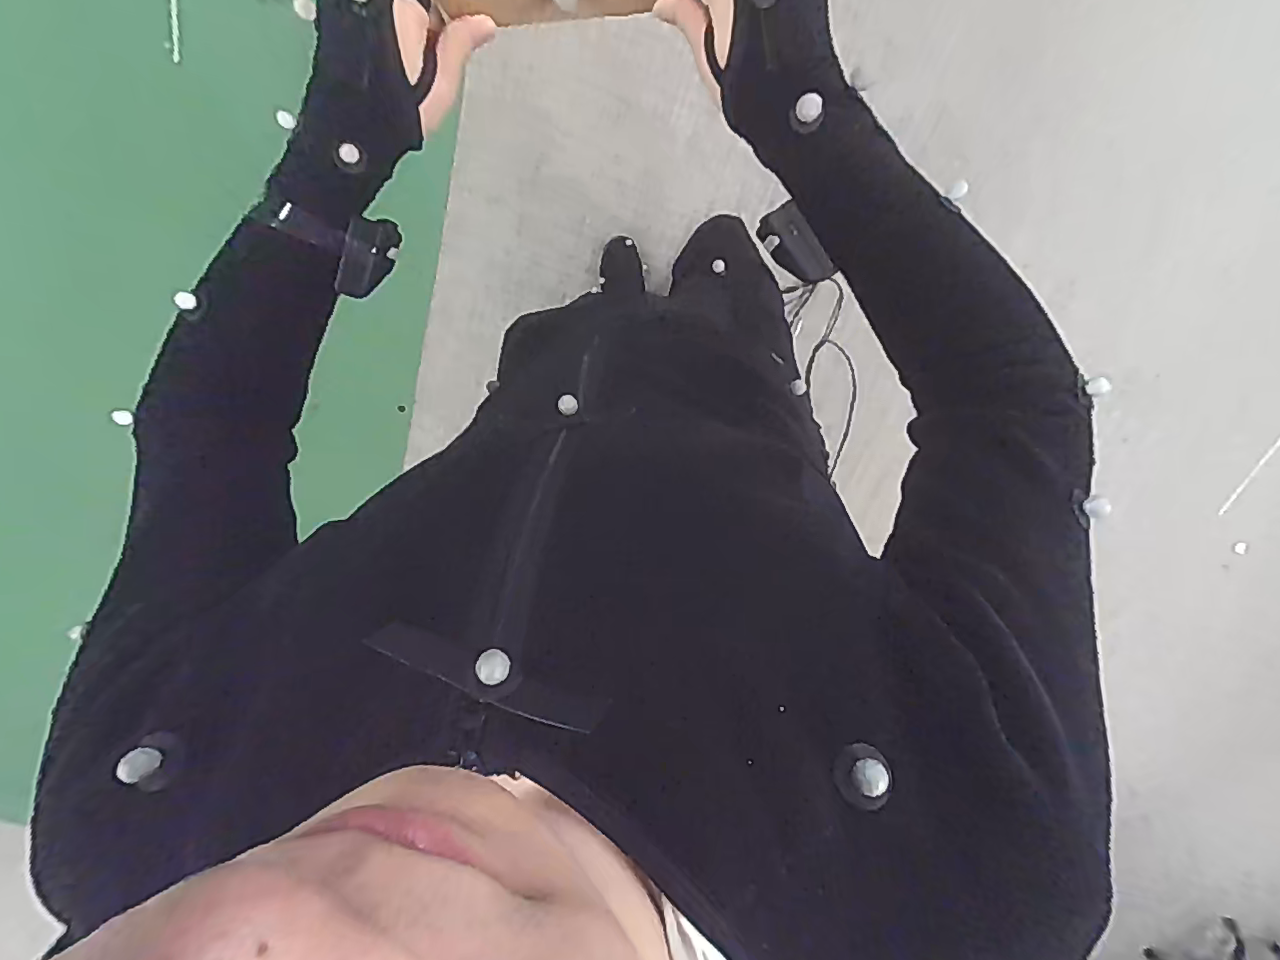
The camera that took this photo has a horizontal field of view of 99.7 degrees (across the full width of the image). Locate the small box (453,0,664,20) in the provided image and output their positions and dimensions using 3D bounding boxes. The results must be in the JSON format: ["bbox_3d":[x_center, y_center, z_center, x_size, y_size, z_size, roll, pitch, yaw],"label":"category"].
[{"bbox_3d":[-0.051,-0.398,0.293,0.179,0.176,0.168,-2,98,3],"label":"small box"}]
